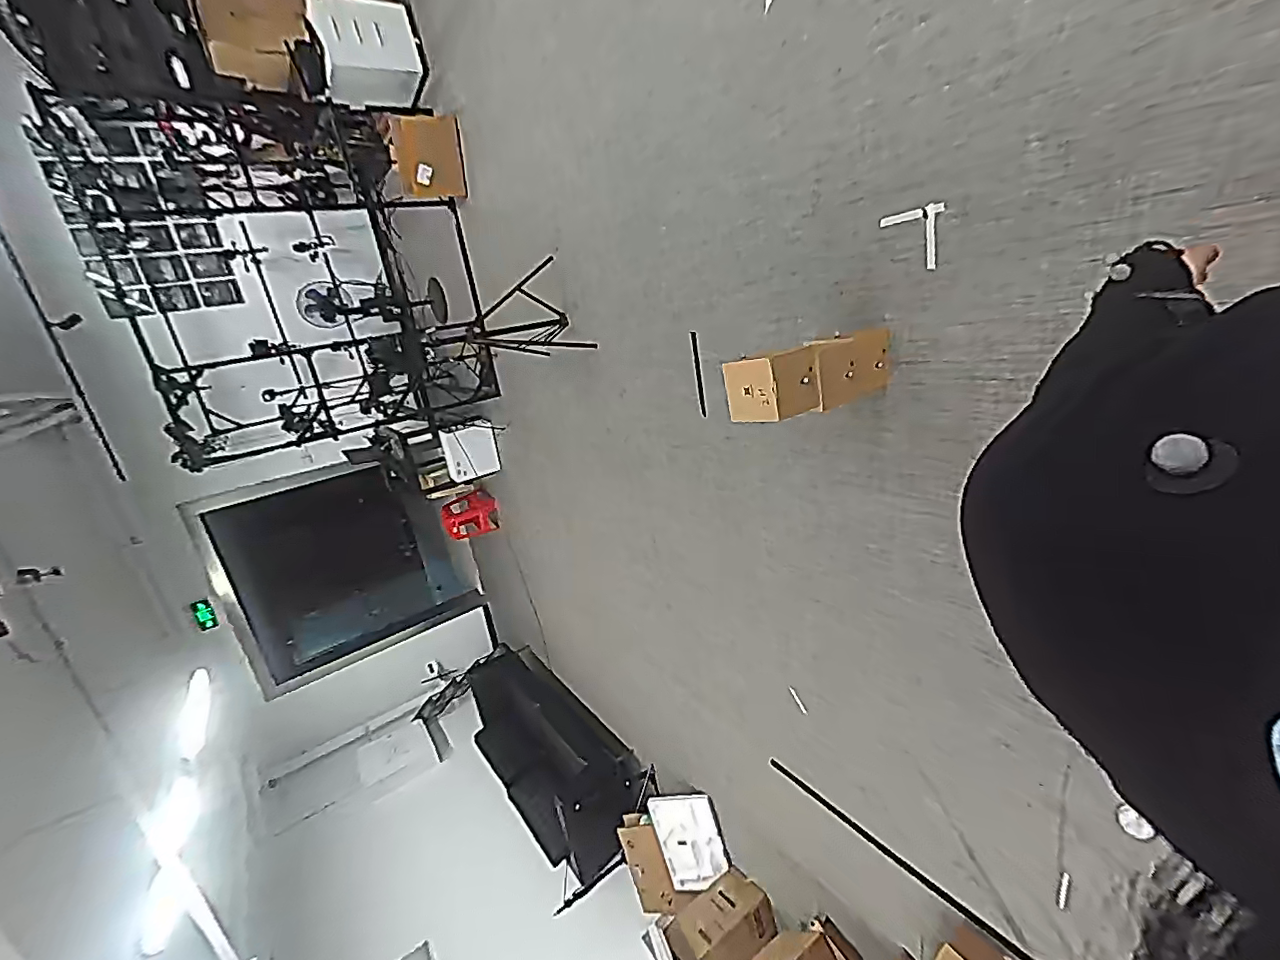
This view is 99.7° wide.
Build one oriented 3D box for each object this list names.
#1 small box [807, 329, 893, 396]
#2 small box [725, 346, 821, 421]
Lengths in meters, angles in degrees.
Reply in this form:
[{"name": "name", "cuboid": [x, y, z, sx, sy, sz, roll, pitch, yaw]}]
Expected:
[{"name": "small box", "cuboid": [0.627, -0.352, 1.614, 0.179, 0.176, 0.168, 14, 119, 54]}, {"name": "small box", "cuboid": [0.357, -0.257, 1.449, 0.179, 0.176, 0.168, 8, 115, 55]}]
